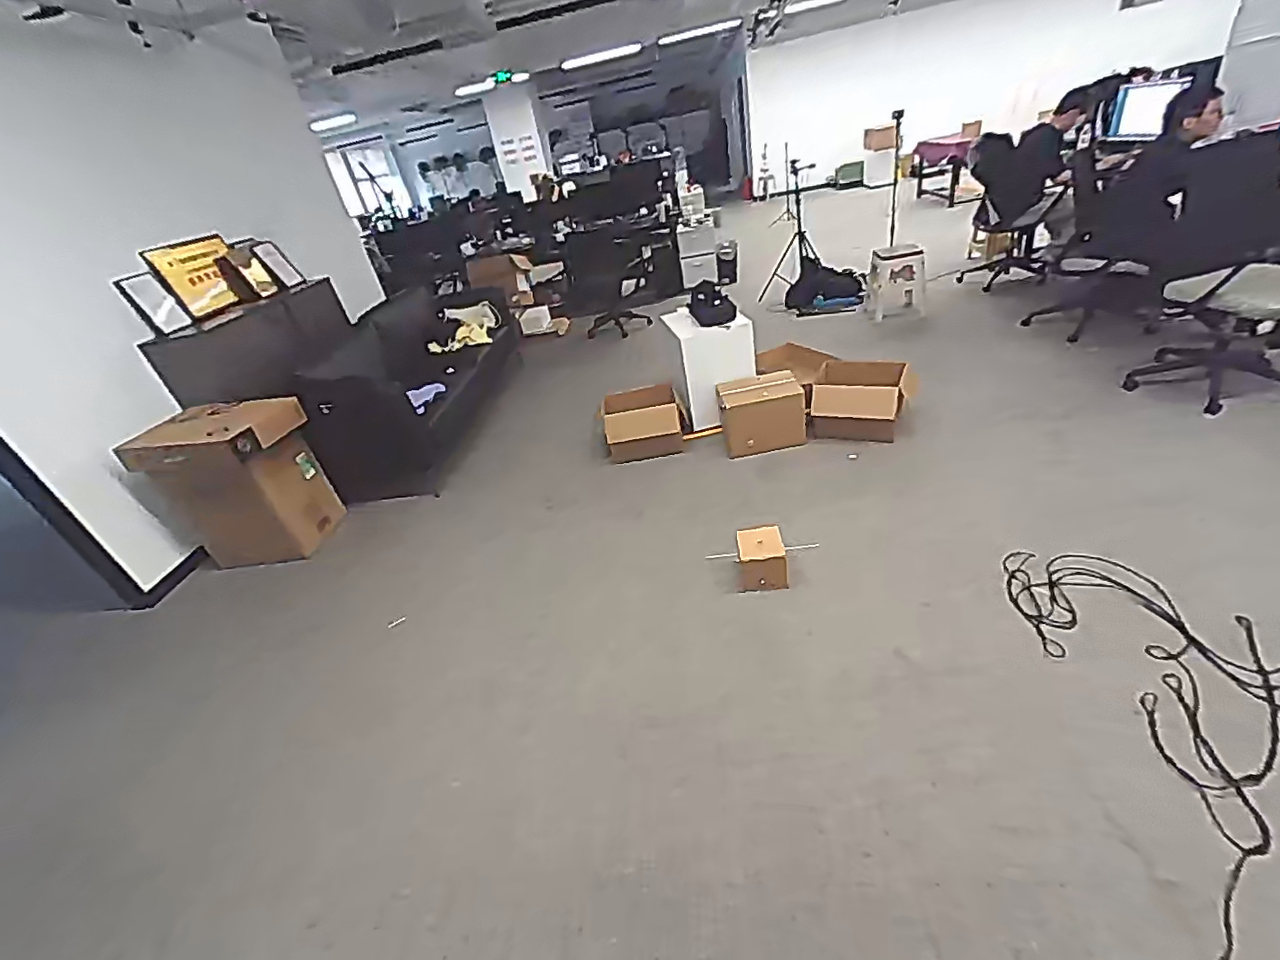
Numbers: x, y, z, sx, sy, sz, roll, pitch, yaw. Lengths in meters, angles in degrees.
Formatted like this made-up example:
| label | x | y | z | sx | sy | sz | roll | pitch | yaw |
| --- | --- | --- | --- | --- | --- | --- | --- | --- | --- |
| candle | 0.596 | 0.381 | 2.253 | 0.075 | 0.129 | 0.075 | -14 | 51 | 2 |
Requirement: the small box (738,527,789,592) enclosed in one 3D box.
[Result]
| label | x | y | z | sx | sy | sz | roll | pitch | yaw |
| --- | --- | --- | --- | --- | --- | --- | --- | --- | --- |
| small box | 0.475 | 0.307 | 2.082 | 0.168 | 0.176 | 0.179 | -8 | 33 | 8 |
